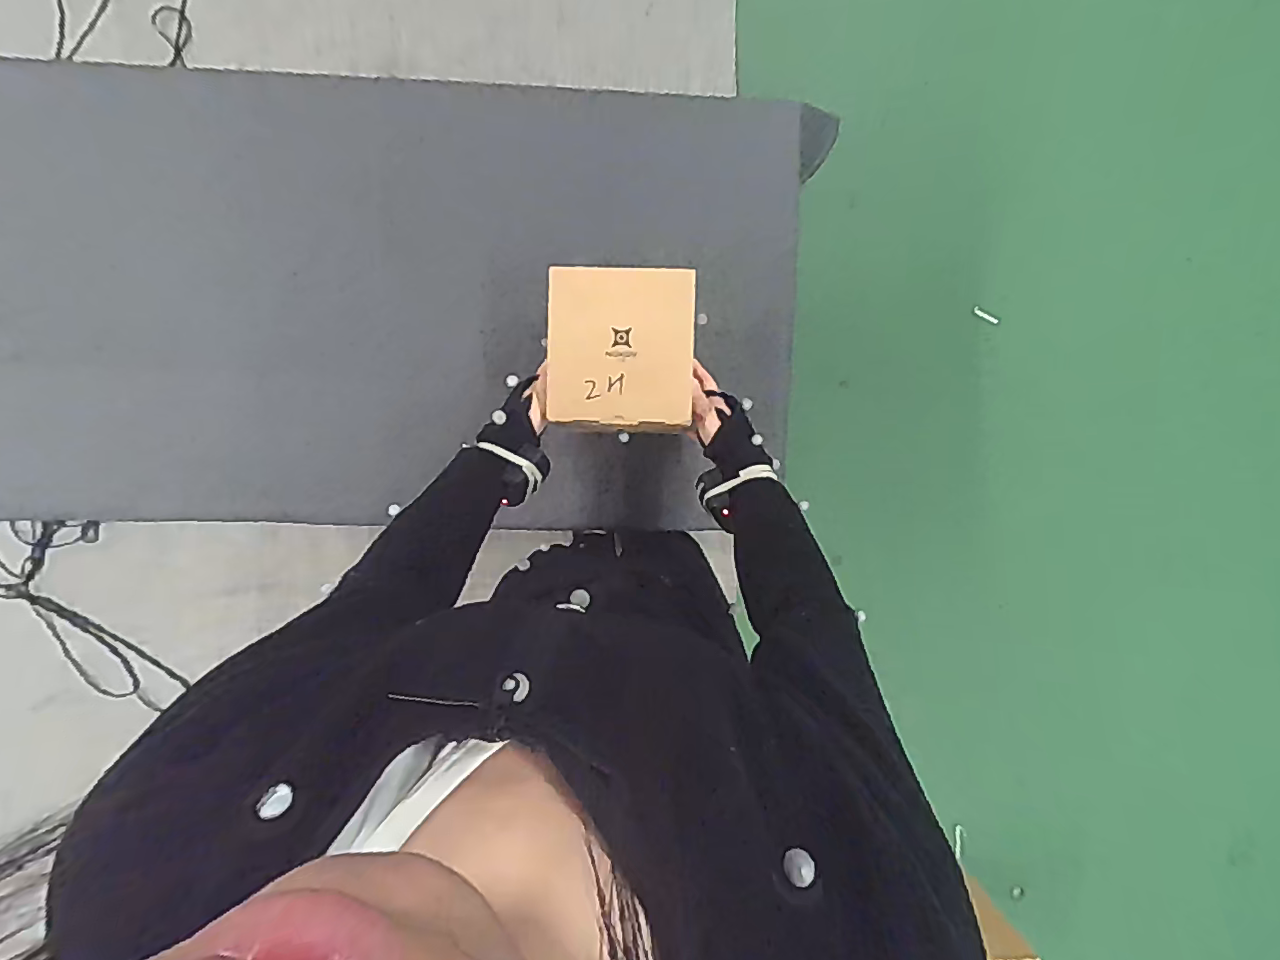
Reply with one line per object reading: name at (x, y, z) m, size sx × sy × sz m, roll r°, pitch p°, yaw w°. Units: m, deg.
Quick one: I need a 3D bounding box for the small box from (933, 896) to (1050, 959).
small box at (0.849, 1.158, 1.318) m, size 0.179 × 0.176 × 0.168 m, roll 0°, pitch 93°, yaw 0°

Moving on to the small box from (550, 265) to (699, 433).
small box at (-0.015, -0.156, 0.691) m, size 0.168 × 0.176 × 0.179 m, roll 2°, pitch 92°, yaw 3°
